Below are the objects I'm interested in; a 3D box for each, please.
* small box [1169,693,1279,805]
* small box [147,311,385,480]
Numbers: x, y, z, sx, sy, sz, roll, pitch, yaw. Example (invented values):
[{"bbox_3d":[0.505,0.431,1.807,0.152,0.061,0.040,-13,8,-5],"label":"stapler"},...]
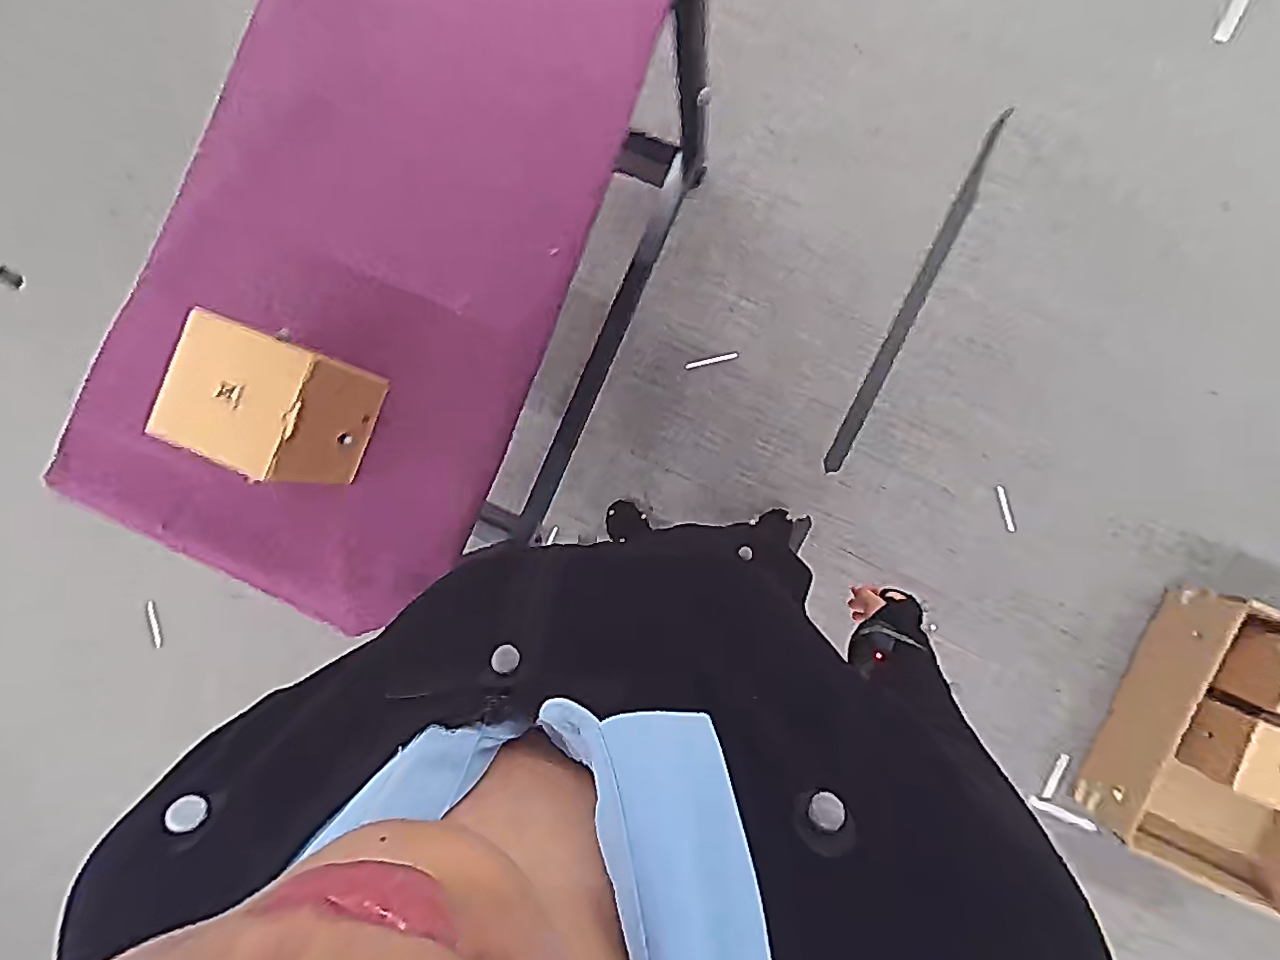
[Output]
[{"bbox_3d":[1.387,0.613,1.234,0.179,0.176,0.168,20,92,6],"label":"small box"},{"bbox_3d":[-0.494,-0.101,0.739,0.179,0.176,0.168,21,91,5],"label":"small box"}]
